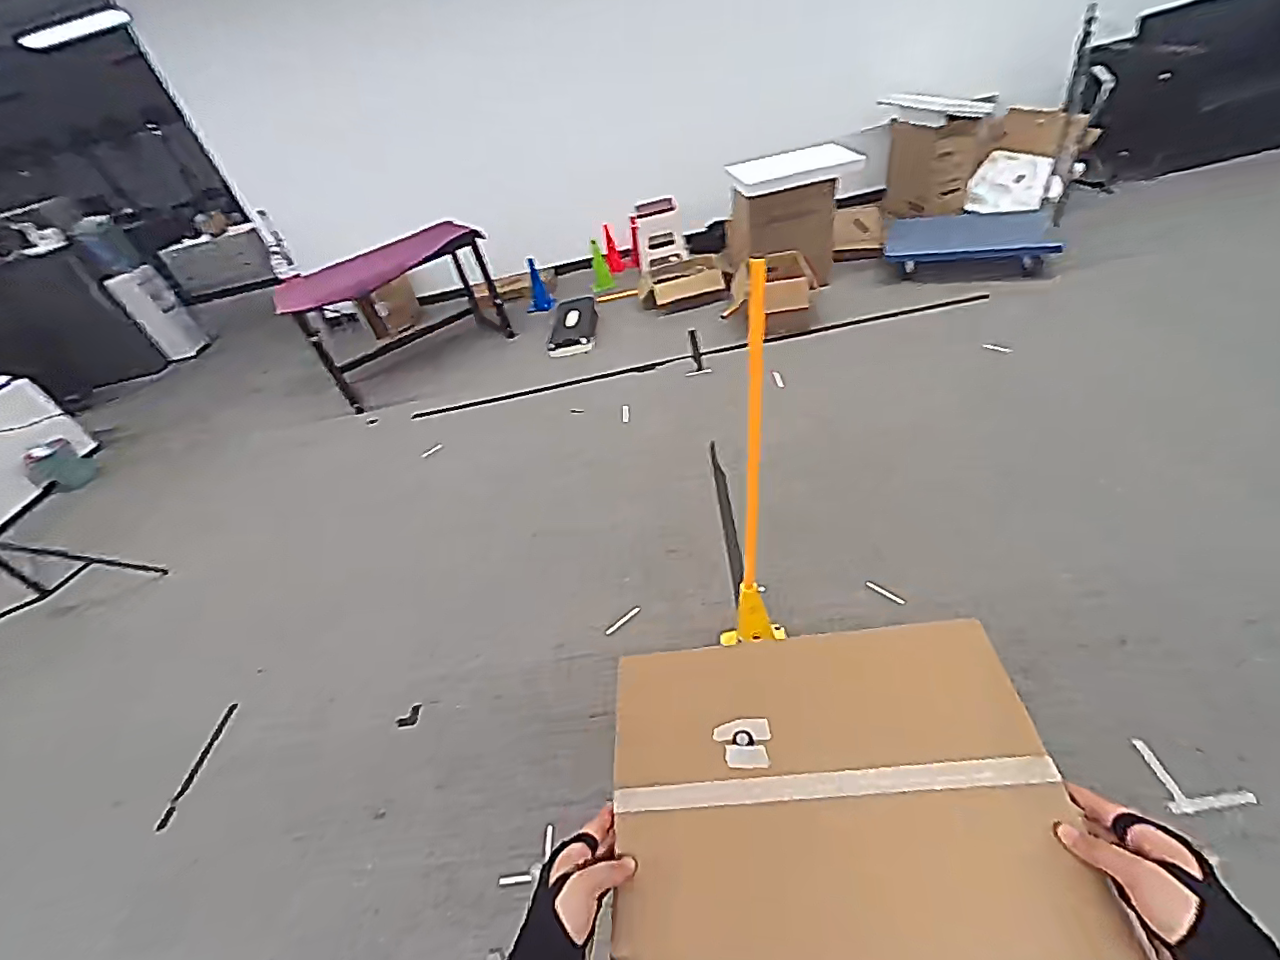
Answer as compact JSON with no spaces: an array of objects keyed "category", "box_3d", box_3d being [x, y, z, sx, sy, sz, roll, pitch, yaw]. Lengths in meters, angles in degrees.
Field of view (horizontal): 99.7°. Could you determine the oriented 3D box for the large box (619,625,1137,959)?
[{"category":"large box","box_3d":[0.209,0.405,0.621,0.408,0.320,0.320,-10,42,9]}]
